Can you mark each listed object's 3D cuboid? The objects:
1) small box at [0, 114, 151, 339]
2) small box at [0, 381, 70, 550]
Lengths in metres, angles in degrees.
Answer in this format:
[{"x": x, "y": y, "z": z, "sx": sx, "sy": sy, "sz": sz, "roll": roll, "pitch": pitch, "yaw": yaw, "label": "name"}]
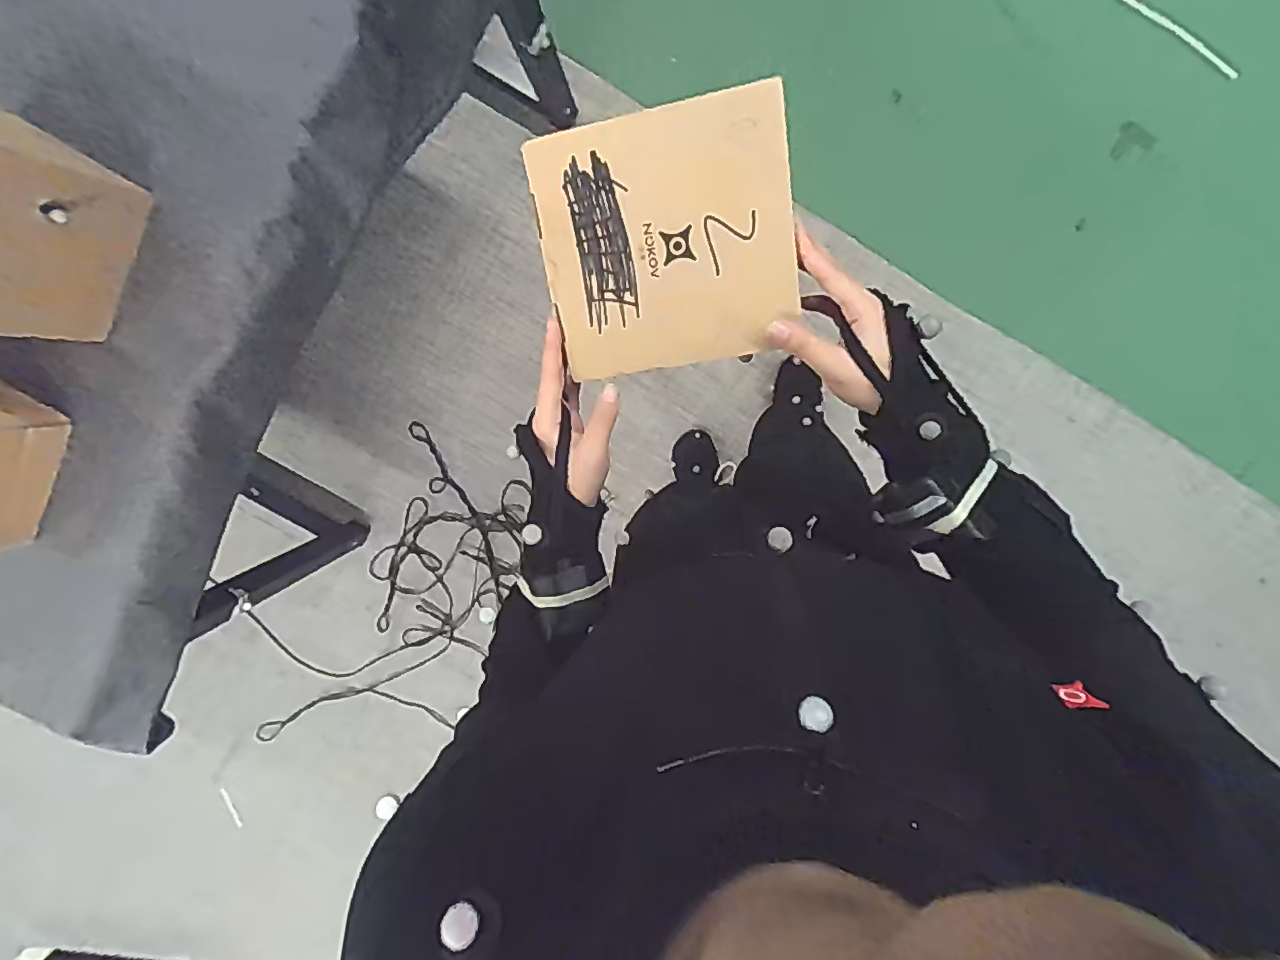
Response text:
[{"x": -0.632, "y": -0.253, "z": 0.516, "sx": 0.168, "sy": 0.176, "sz": 0.179, "roll": 30, "pitch": 102, "yaw": -1, "label": "small box"}, {"x": -0.775, "y": -0.017, "z": 0.569, "sx": 0.168, "sy": 0.176, "sz": 0.179, "roll": 29, "pitch": 100, "yaw": -2, "label": "small box"}]
